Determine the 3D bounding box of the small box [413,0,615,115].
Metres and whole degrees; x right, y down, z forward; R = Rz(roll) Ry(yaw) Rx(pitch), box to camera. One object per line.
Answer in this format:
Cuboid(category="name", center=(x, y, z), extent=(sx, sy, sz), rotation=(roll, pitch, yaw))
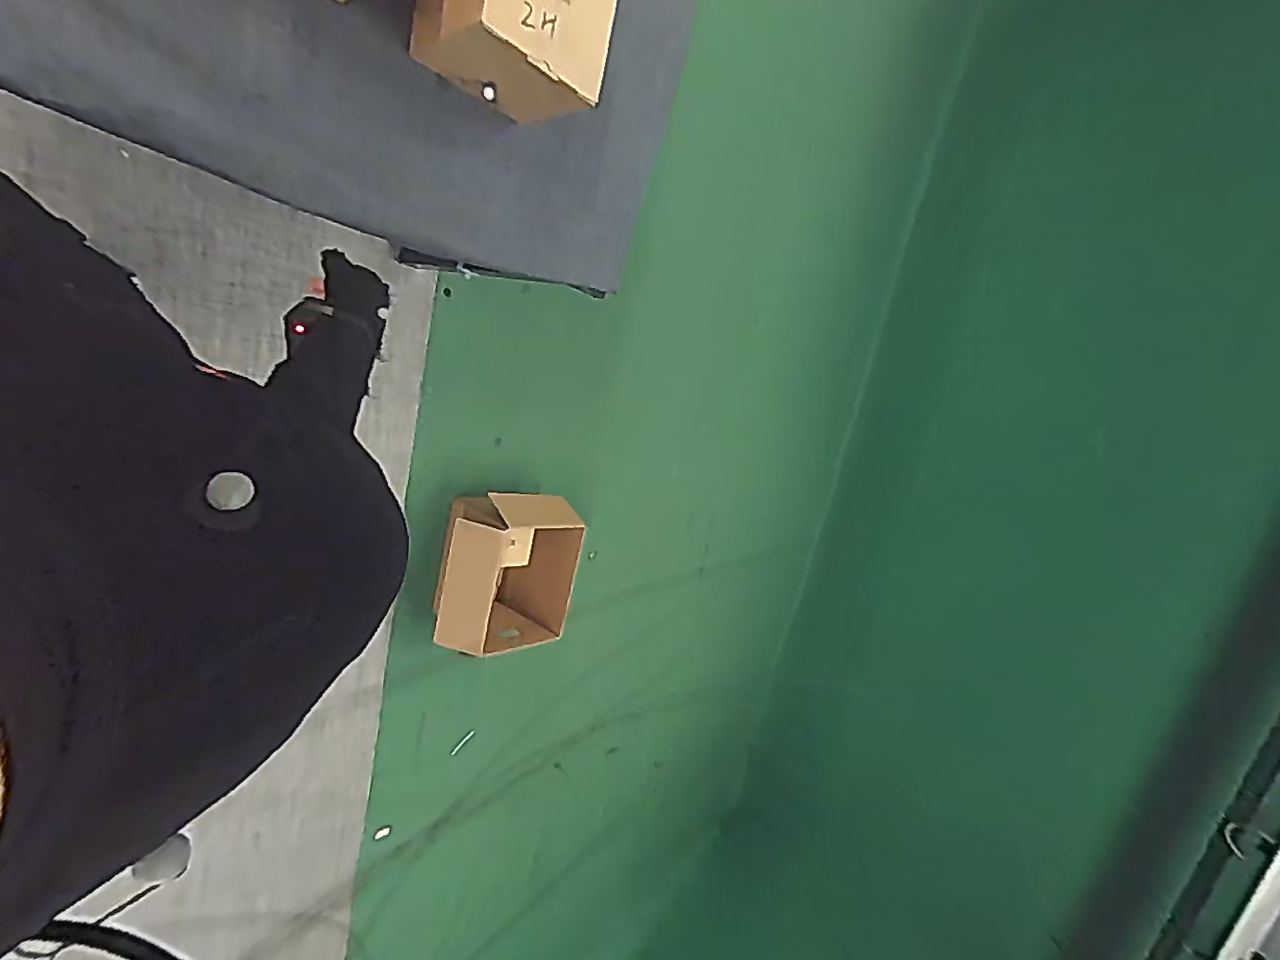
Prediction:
Cuboid(category="small box", center=(-0.148, -0.575, 0.644), extent=(0.168, 0.176, 0.179), rotation=(1, 107, -48))
